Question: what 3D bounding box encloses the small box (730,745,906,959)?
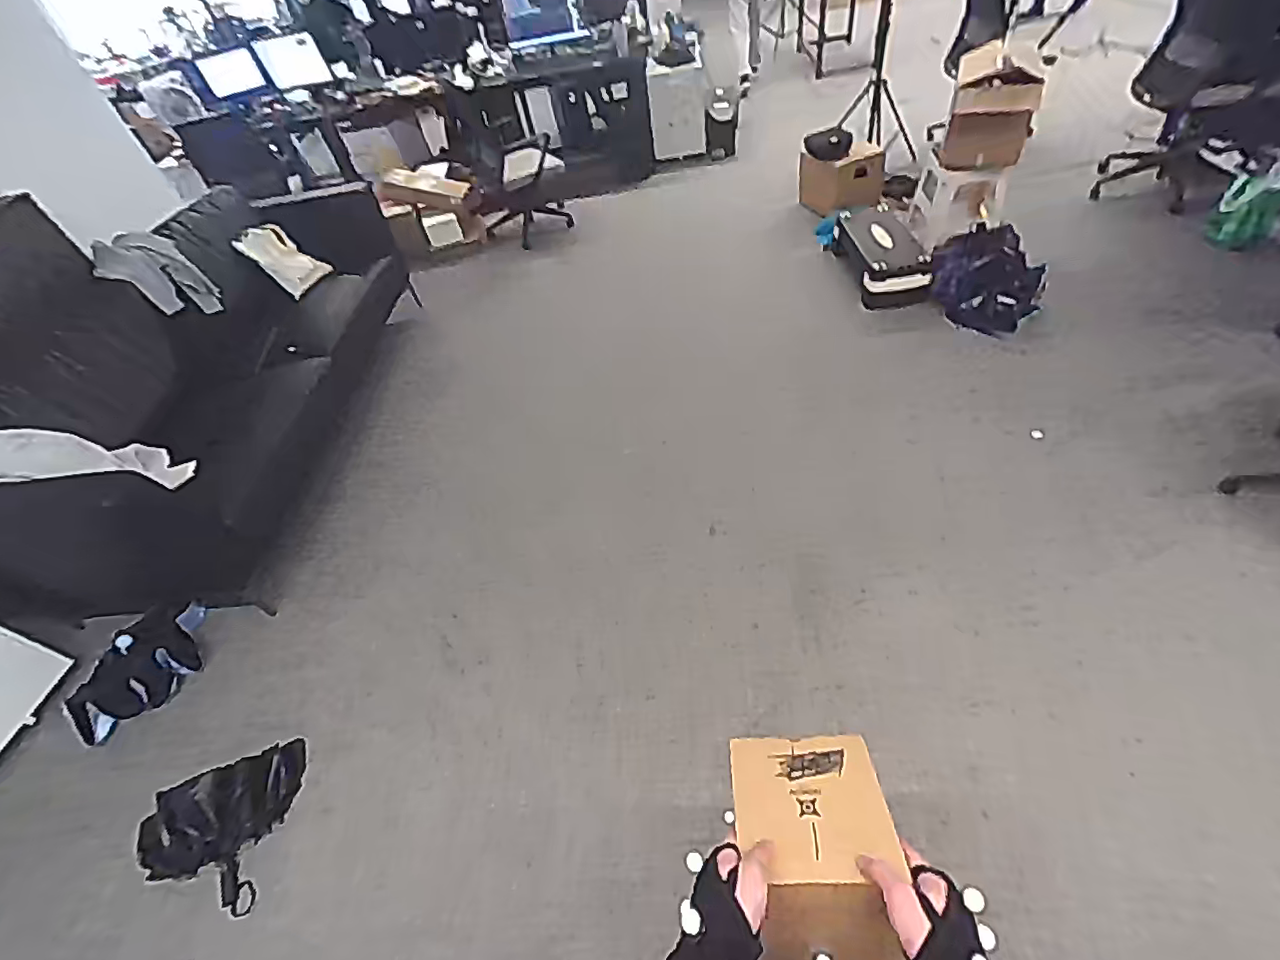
[{"bbox_3d":[0.197,0.445,0.636,0.168,0.176,0.179,-7,21,9],"label":"small box"}]
